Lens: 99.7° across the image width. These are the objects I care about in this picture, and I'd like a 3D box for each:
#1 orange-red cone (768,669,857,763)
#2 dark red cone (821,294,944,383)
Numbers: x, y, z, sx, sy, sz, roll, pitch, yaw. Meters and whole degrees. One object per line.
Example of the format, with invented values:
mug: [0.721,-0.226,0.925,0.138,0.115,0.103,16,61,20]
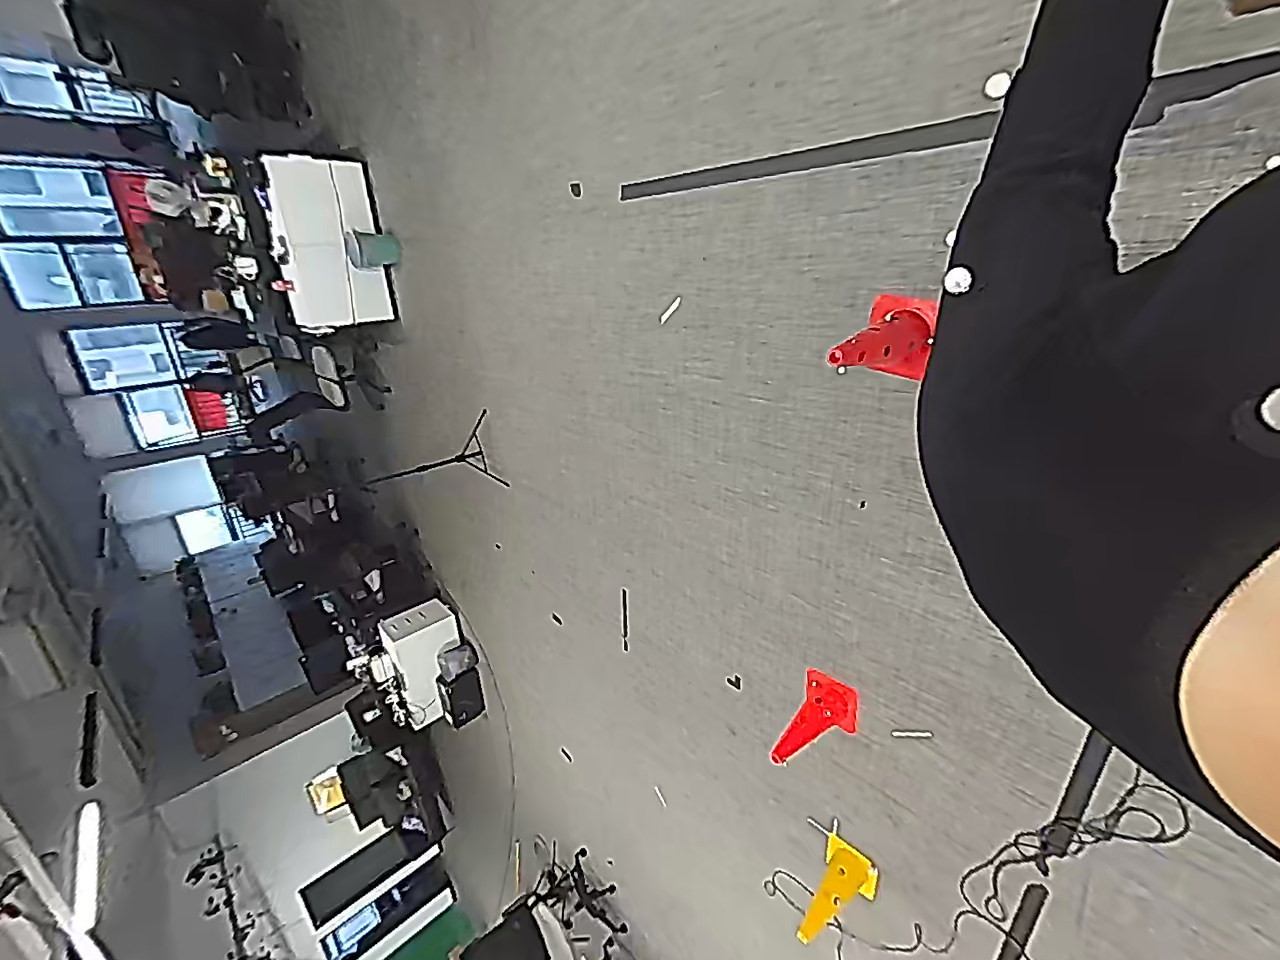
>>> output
orange-red cone: [0.562,0.852,1.857,0.198,0.360,0.199,19,122,46]
dark red cone: [0.548,-0.322,1.298,0.201,0.394,0.202,27,126,39]
